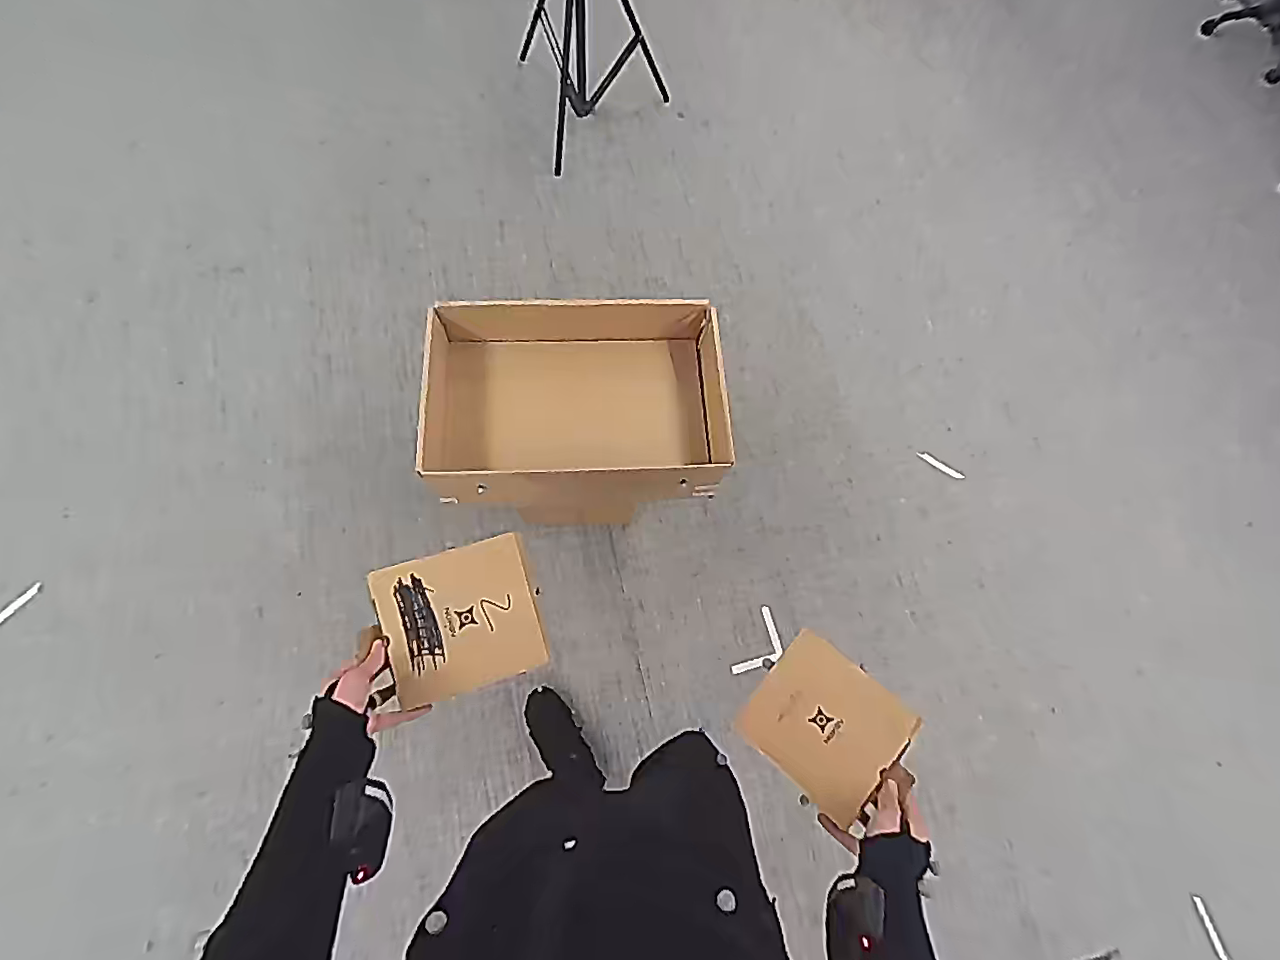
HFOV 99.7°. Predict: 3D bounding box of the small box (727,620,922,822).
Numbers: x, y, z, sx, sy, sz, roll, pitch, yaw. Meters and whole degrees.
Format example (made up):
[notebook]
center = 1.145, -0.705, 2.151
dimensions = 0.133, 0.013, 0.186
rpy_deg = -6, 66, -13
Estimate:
[small box]
center = 0.241, 0.318, 0.742
dimensions = 0.179, 0.176, 0.168
rpy_deg = 37, 80, 22
